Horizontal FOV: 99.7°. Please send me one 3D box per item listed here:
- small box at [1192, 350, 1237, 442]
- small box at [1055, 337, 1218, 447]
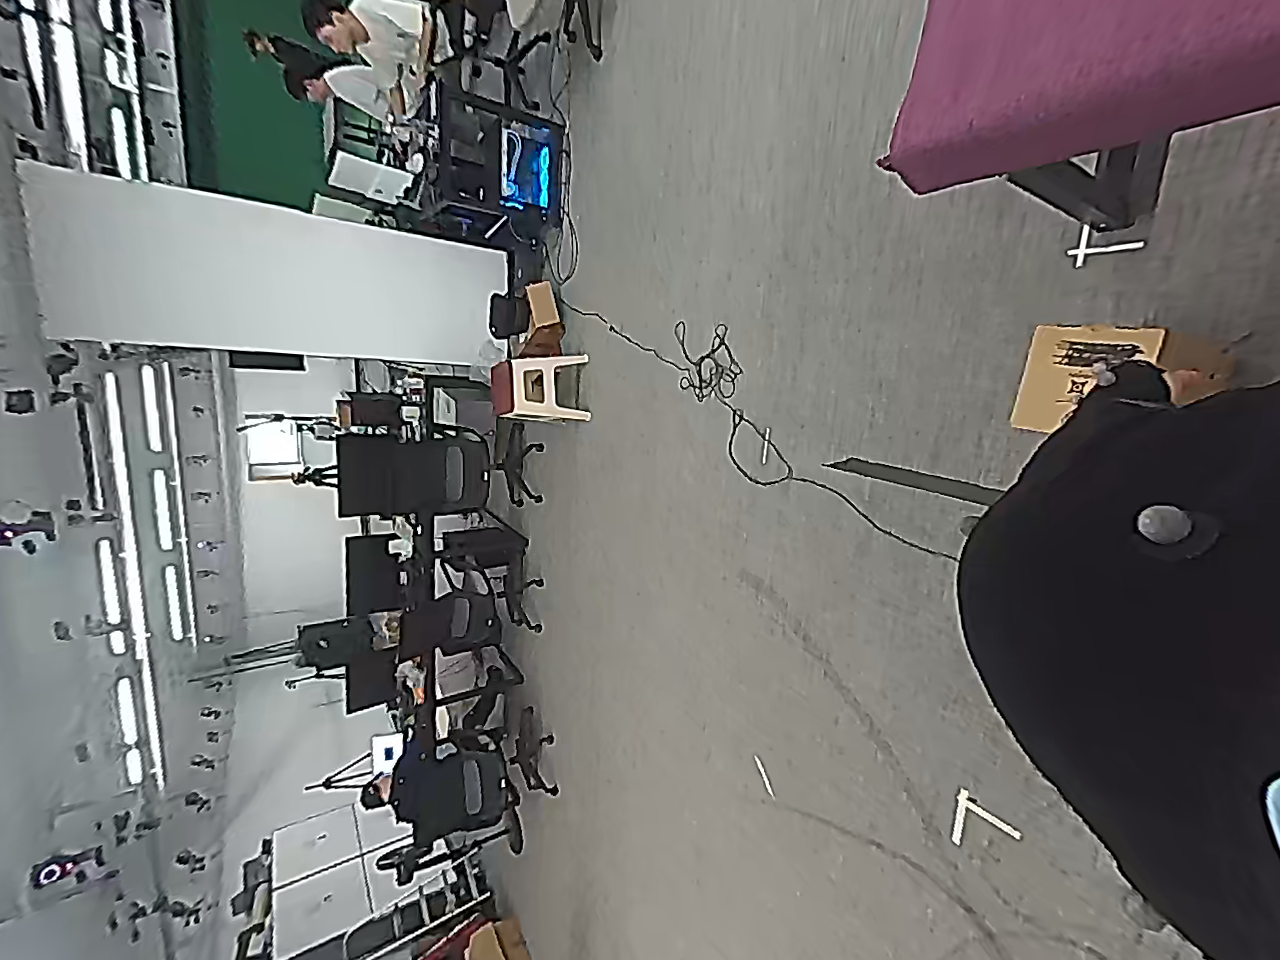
[{"bbox_3d":[1.034,-0.176,1.078,0.168,0.176,0.179,30,118,51],"label":"small box"},{"bbox_3d":[0.901,-0.161,0.981,0.168,0.176,0.179,22,112,54],"label":"small box"}]
